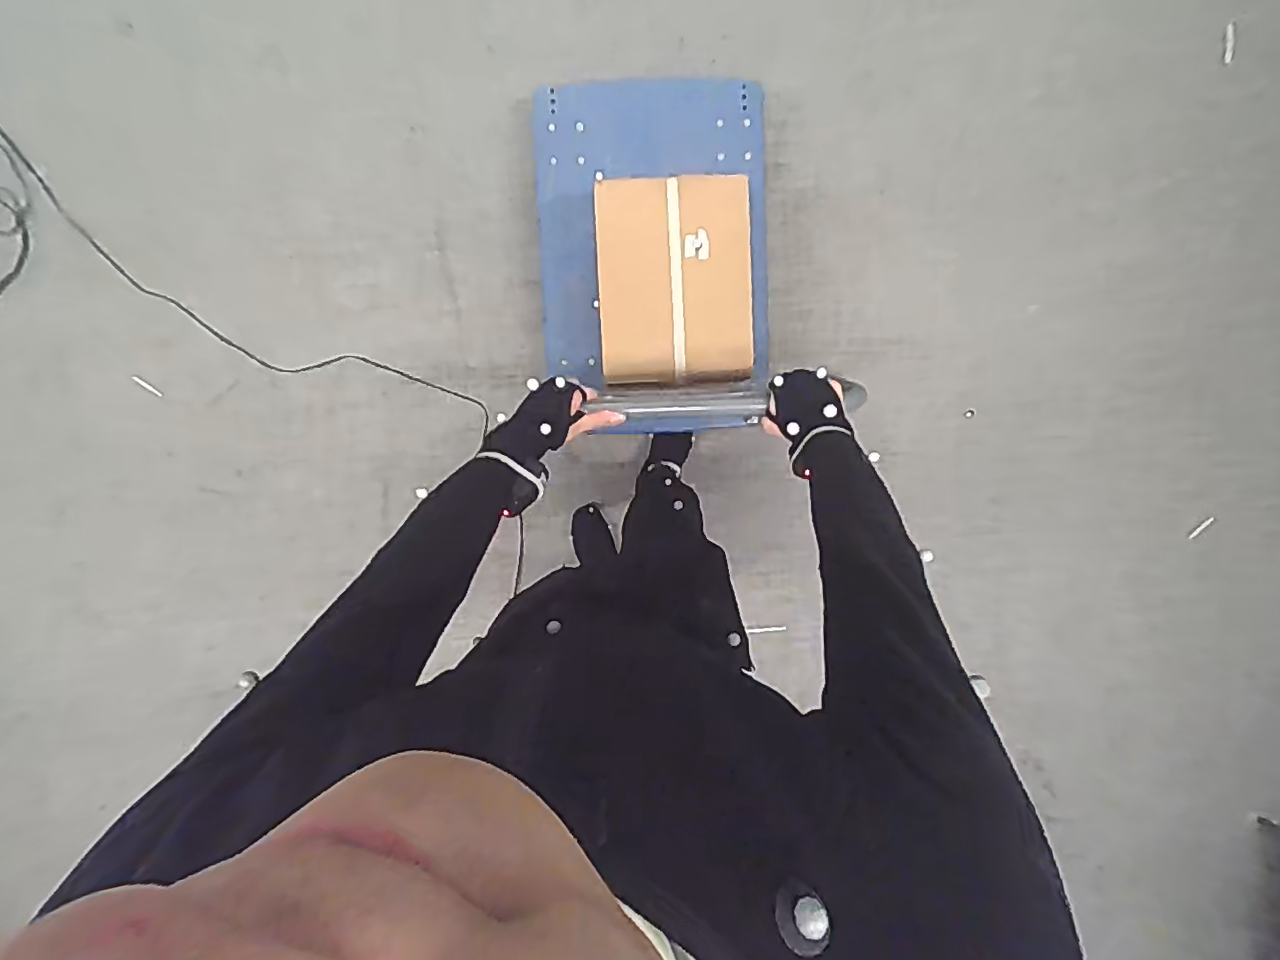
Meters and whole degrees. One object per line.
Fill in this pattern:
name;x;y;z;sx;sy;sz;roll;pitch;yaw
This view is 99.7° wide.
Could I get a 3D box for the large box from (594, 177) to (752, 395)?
large box;0.067;-0.420;1.257;0.320;0.320;0.408;-3;94;-2
